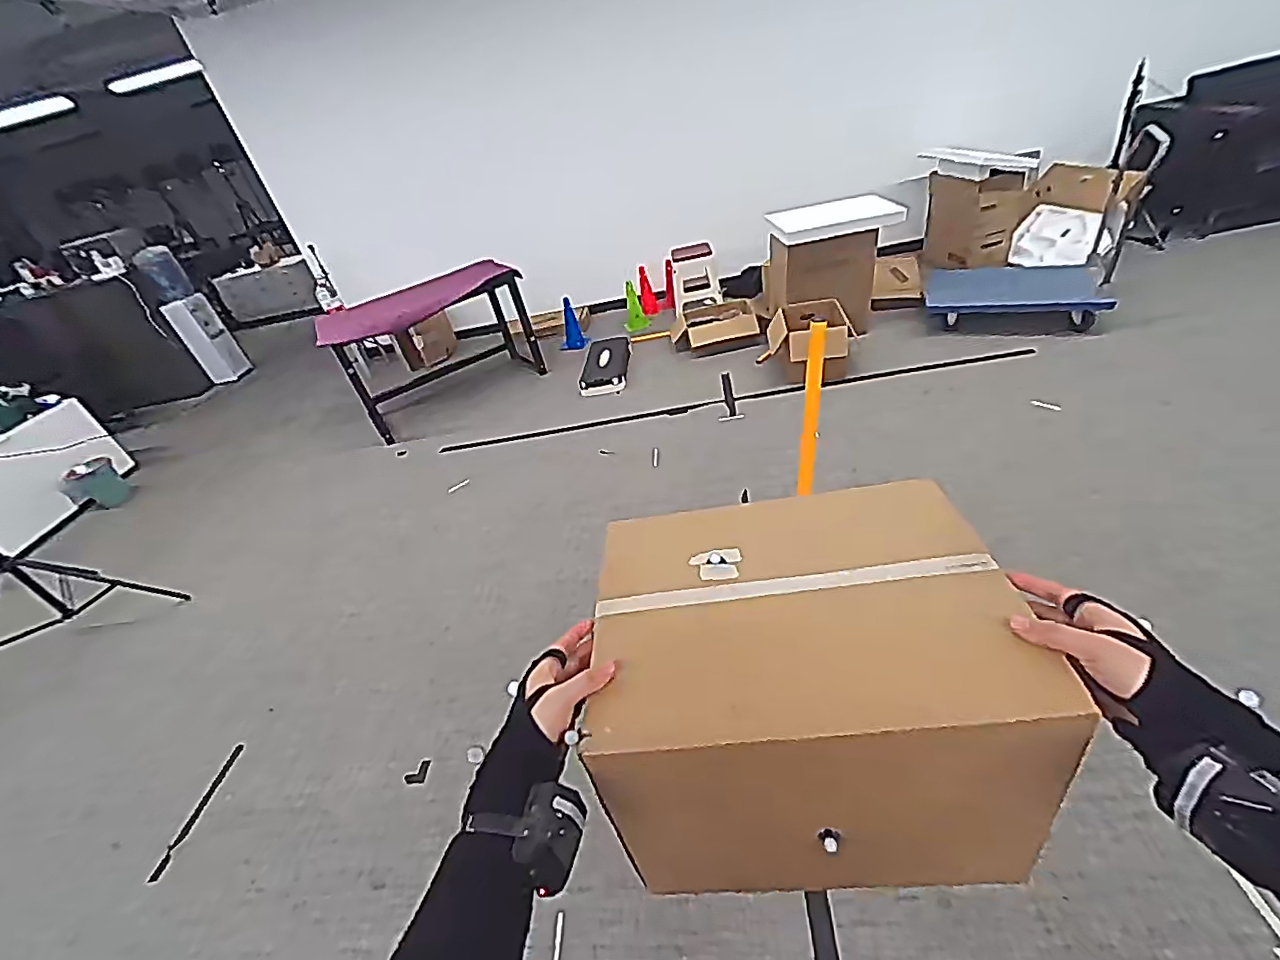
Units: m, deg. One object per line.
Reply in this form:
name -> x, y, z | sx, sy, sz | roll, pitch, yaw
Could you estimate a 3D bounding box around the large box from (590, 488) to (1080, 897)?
large box -> 0.184, 0.248, 0.645 | 0.408, 0.320, 0.320 | -10, 32, 8
